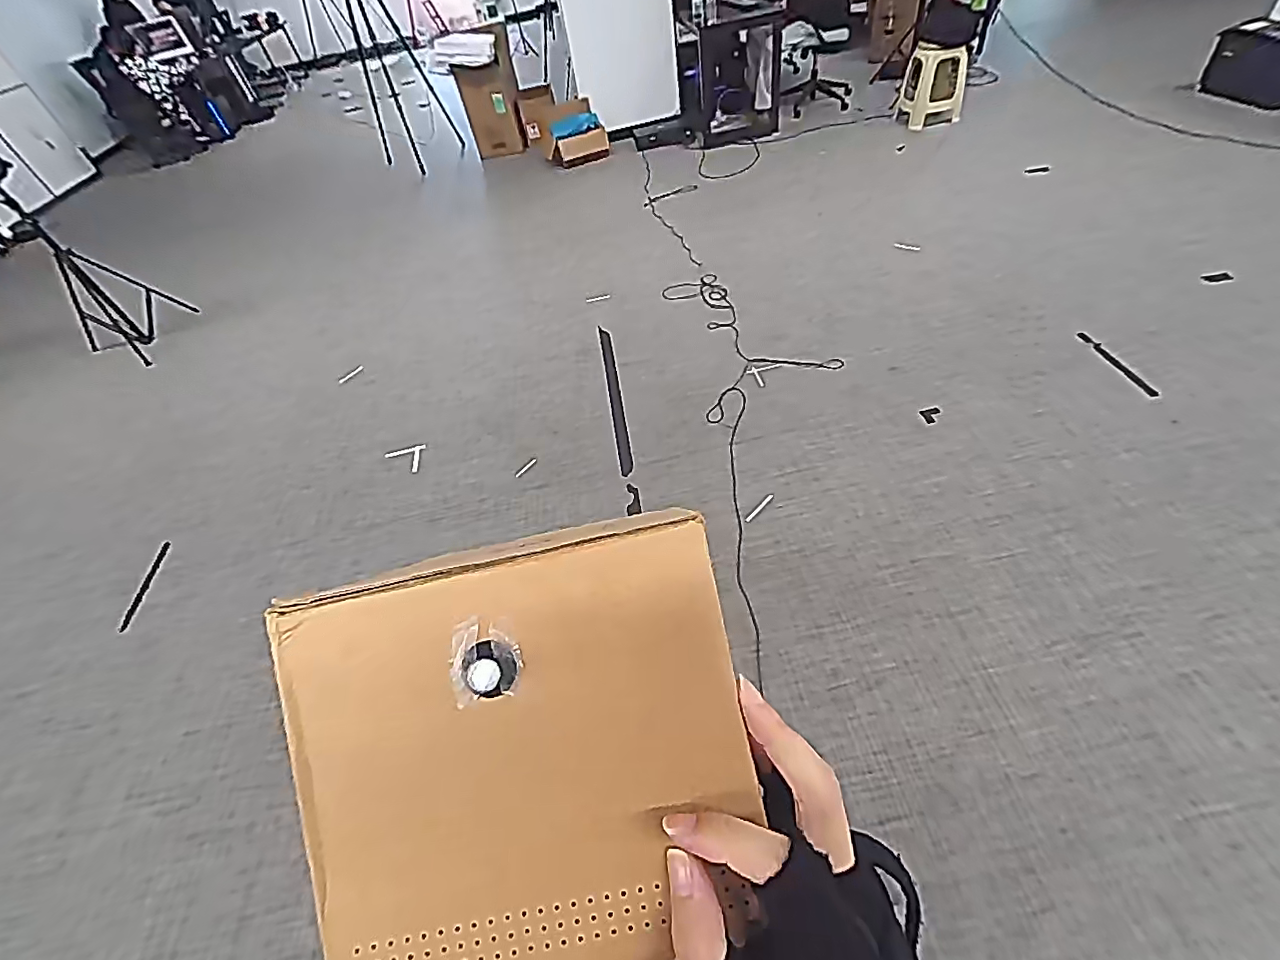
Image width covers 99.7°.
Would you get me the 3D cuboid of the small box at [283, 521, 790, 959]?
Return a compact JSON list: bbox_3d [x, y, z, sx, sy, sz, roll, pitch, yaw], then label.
[{"bbox_3d":[-0.040,0.123,0.286,0.179,0.168,0.176,-12,88,1],"label":"small box"}]
